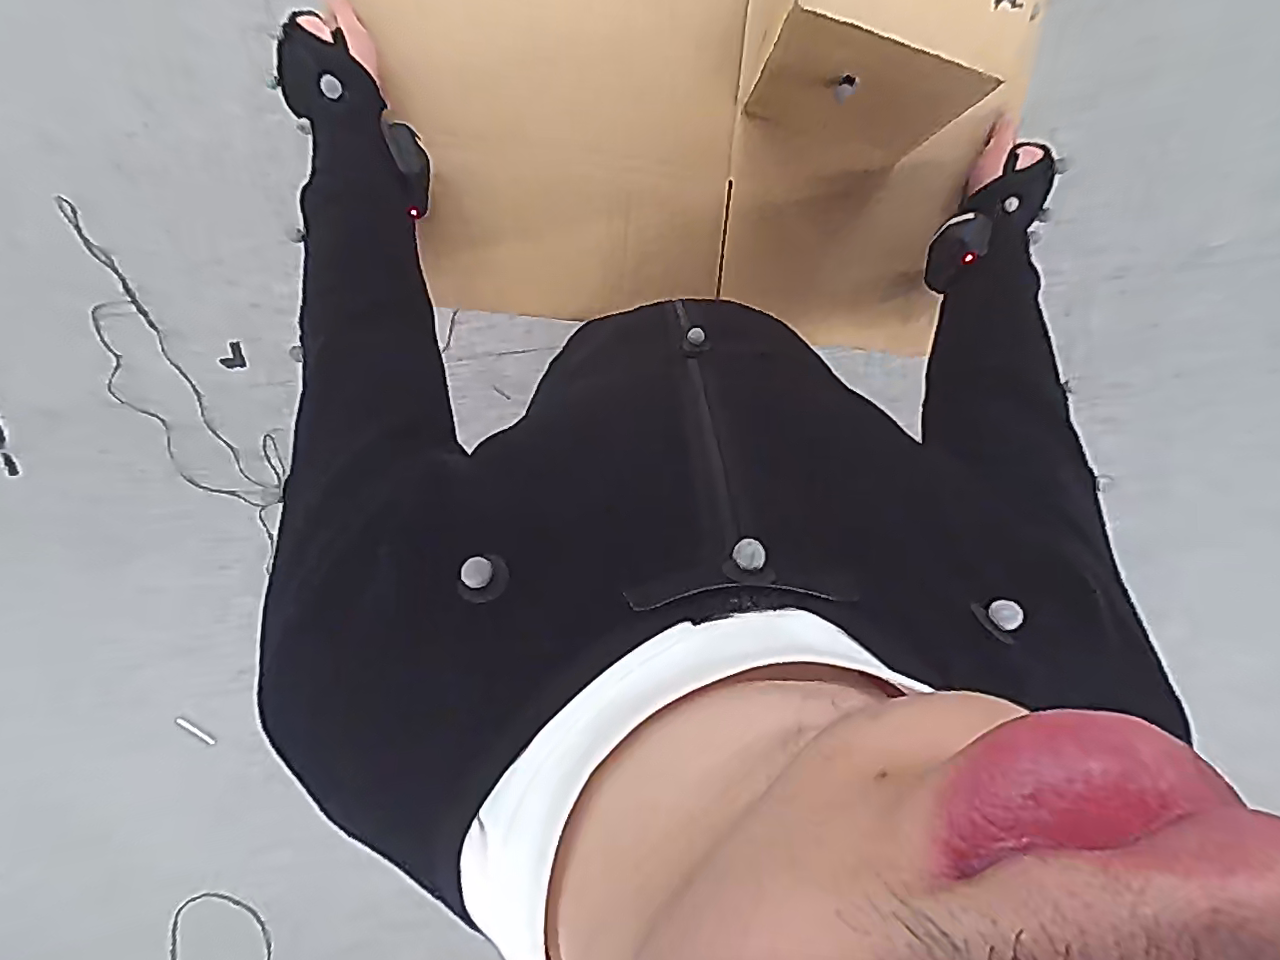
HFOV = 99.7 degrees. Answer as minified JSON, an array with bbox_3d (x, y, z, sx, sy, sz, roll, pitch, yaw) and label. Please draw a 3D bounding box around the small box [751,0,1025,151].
[{"bbox_3d":[0.213,-0.423,0.475,0.179,0.176,0.168,15,101,-4],"label":"small box"}]
